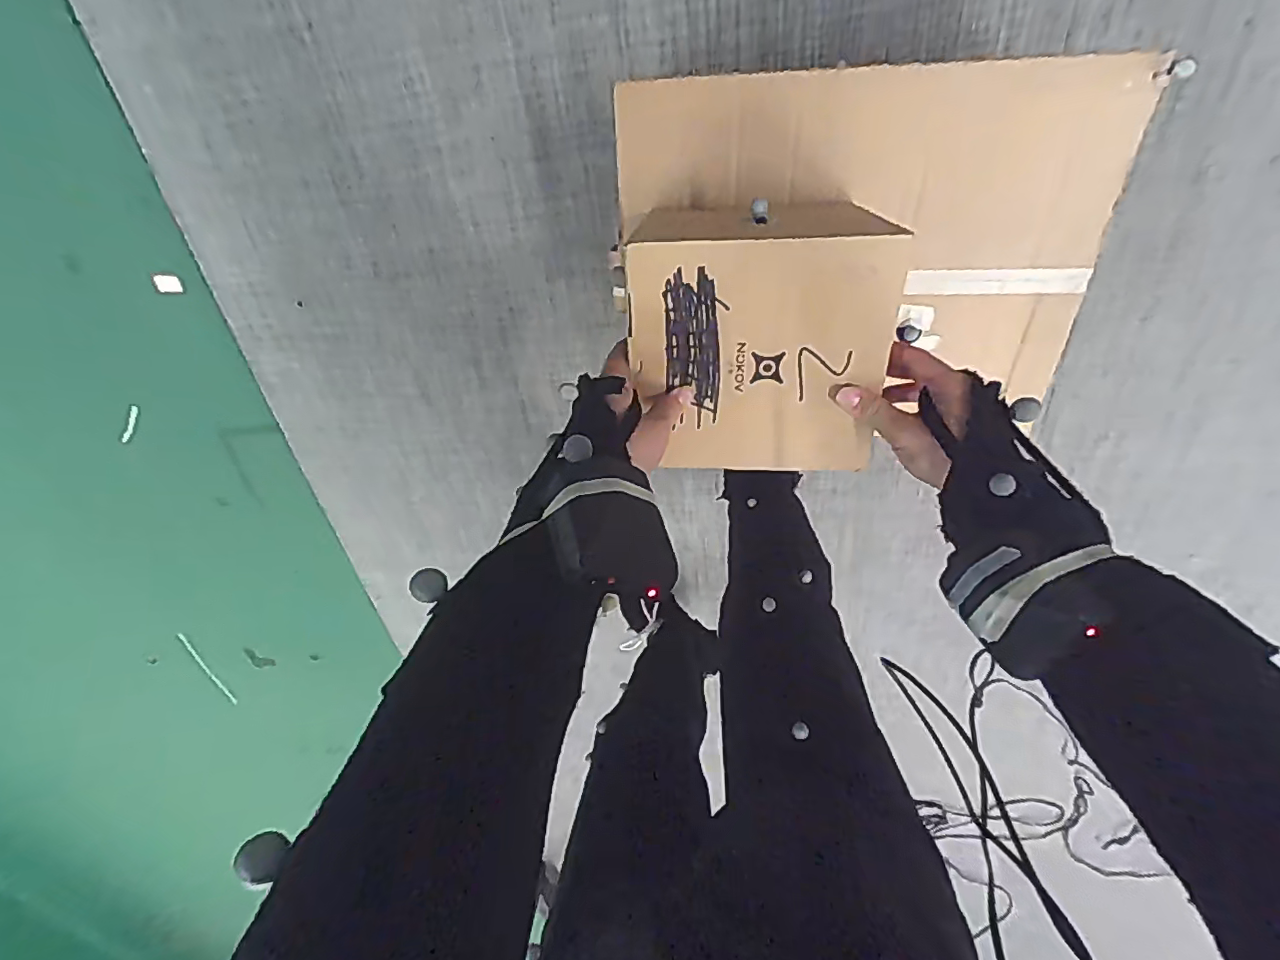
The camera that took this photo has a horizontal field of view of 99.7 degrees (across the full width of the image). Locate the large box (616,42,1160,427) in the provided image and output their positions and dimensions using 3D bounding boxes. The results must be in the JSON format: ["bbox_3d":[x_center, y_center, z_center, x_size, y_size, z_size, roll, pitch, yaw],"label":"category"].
[{"bbox_3d":[0.201,-0.266,0.614,0.408,0.320,0.320,1,124,7],"label":"large box"}]
